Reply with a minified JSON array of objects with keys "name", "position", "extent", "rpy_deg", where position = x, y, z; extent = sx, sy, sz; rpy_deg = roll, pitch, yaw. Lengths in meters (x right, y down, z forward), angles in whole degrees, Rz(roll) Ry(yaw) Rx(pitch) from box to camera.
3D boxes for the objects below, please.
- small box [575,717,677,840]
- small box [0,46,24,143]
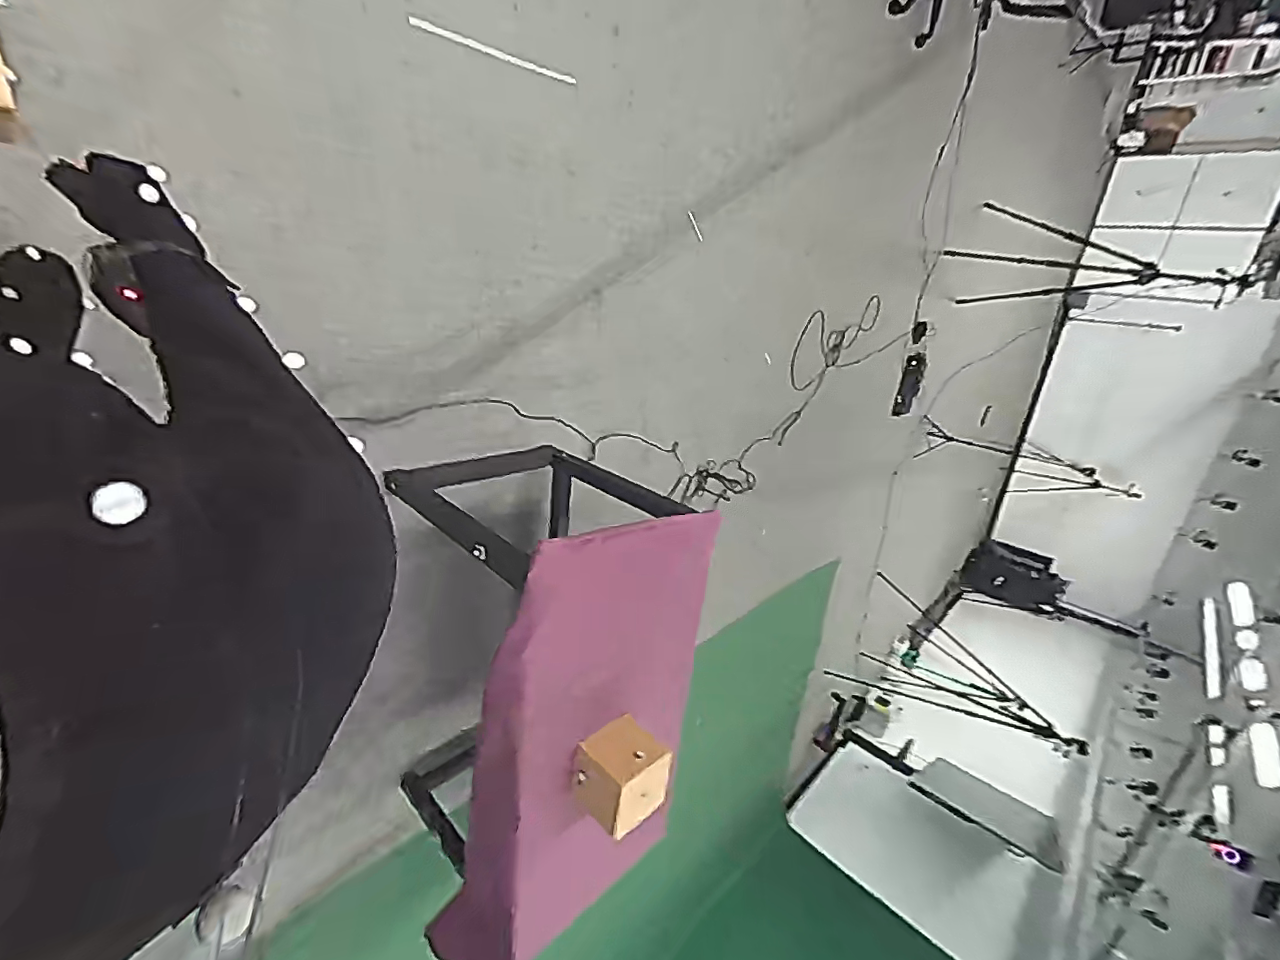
[{"name":"small box","position":[-0.037,0.728,1.346],"extent":[0.179,0.176,0.168],"rpy_deg":[-9,113,-45]},{"name":"small box","position":[-1.020,-0.598,0.767],"extent":[0.168,0.176,0.179],"rpy_deg":[-18,119,-43]}]
